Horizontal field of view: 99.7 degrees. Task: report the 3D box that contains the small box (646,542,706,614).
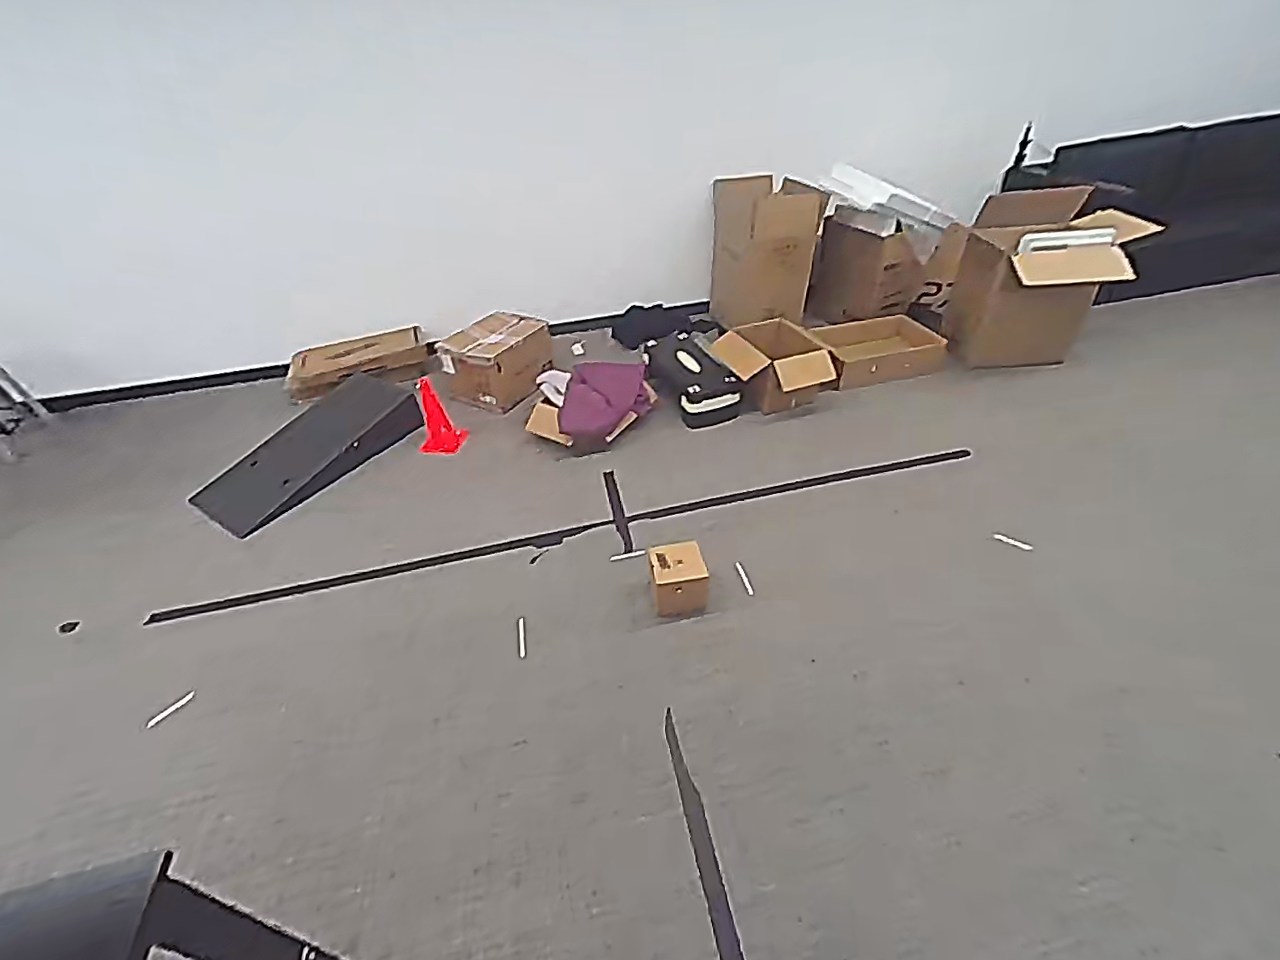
[{"bbox_3d":[0.123,0.340,1.857,0.179,0.176,0.168,-8,40,-6],"label":"small box"}]
